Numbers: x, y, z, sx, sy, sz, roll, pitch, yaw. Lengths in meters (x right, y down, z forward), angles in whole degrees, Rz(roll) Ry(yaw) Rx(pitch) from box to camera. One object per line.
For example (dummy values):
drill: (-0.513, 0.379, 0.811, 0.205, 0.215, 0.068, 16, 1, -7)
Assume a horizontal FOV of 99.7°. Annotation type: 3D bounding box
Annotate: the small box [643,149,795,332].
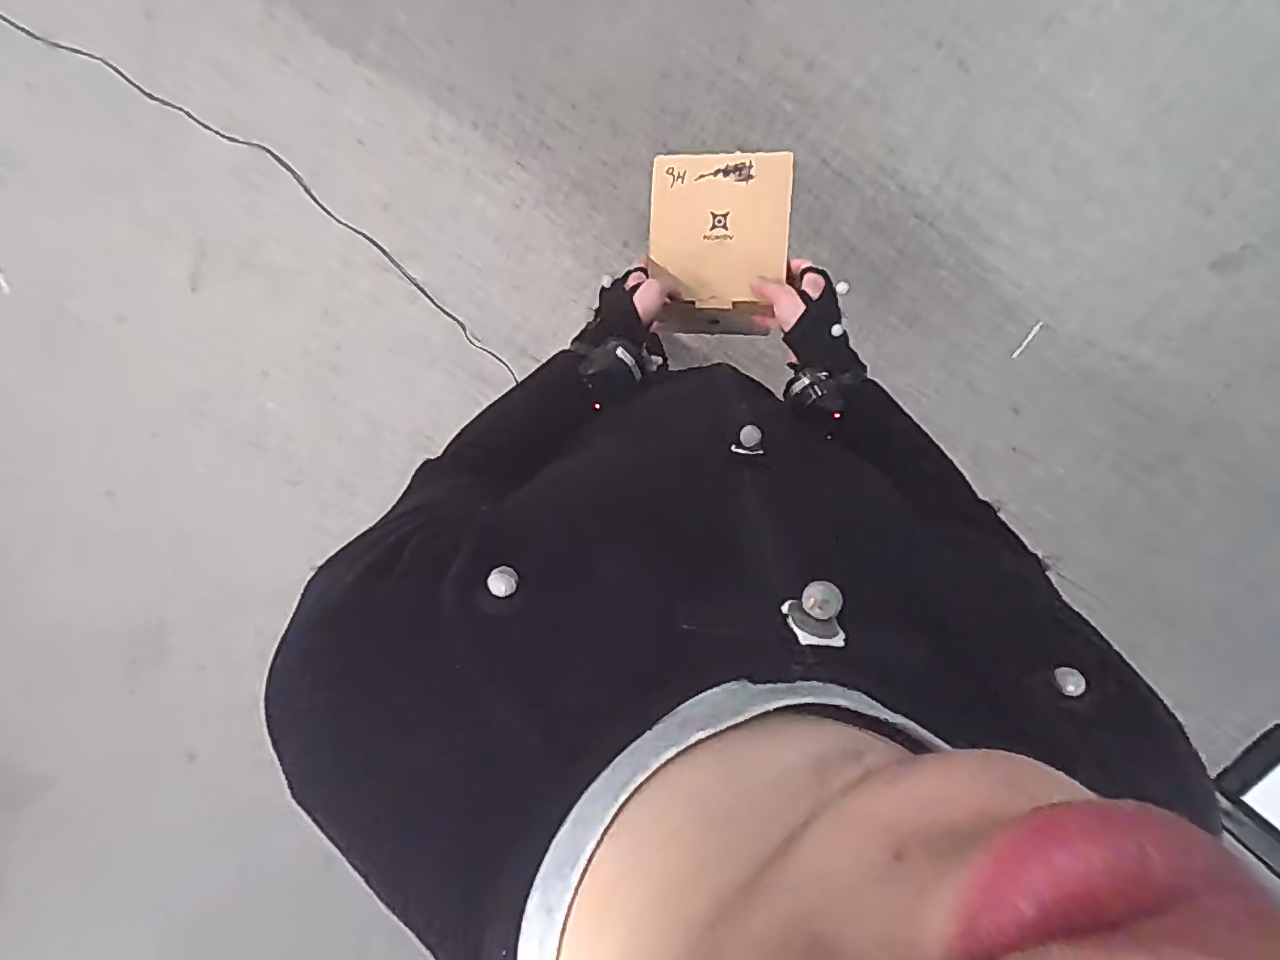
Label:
small box: (0.101, -0.294, 0.701, 0.168, 0.176, 0.179, 4, 94, 8)
